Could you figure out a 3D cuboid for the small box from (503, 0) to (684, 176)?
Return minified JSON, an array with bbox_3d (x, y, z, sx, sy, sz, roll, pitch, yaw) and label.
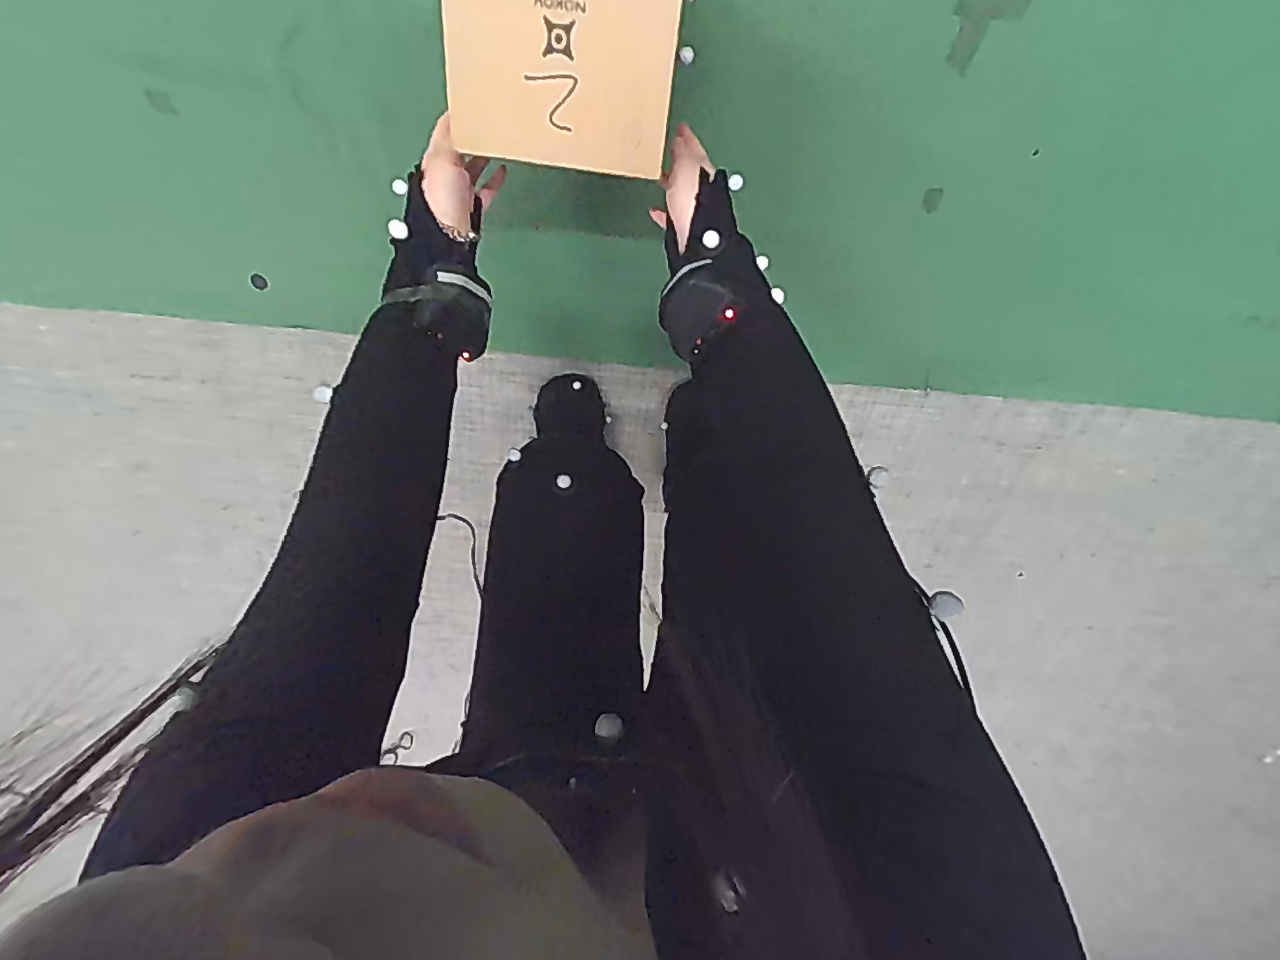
[{"bbox_3d":[-0.045,-0.441,0.580,0.168,0.176,0.179,7,123,-2],"label":"small box"}]
